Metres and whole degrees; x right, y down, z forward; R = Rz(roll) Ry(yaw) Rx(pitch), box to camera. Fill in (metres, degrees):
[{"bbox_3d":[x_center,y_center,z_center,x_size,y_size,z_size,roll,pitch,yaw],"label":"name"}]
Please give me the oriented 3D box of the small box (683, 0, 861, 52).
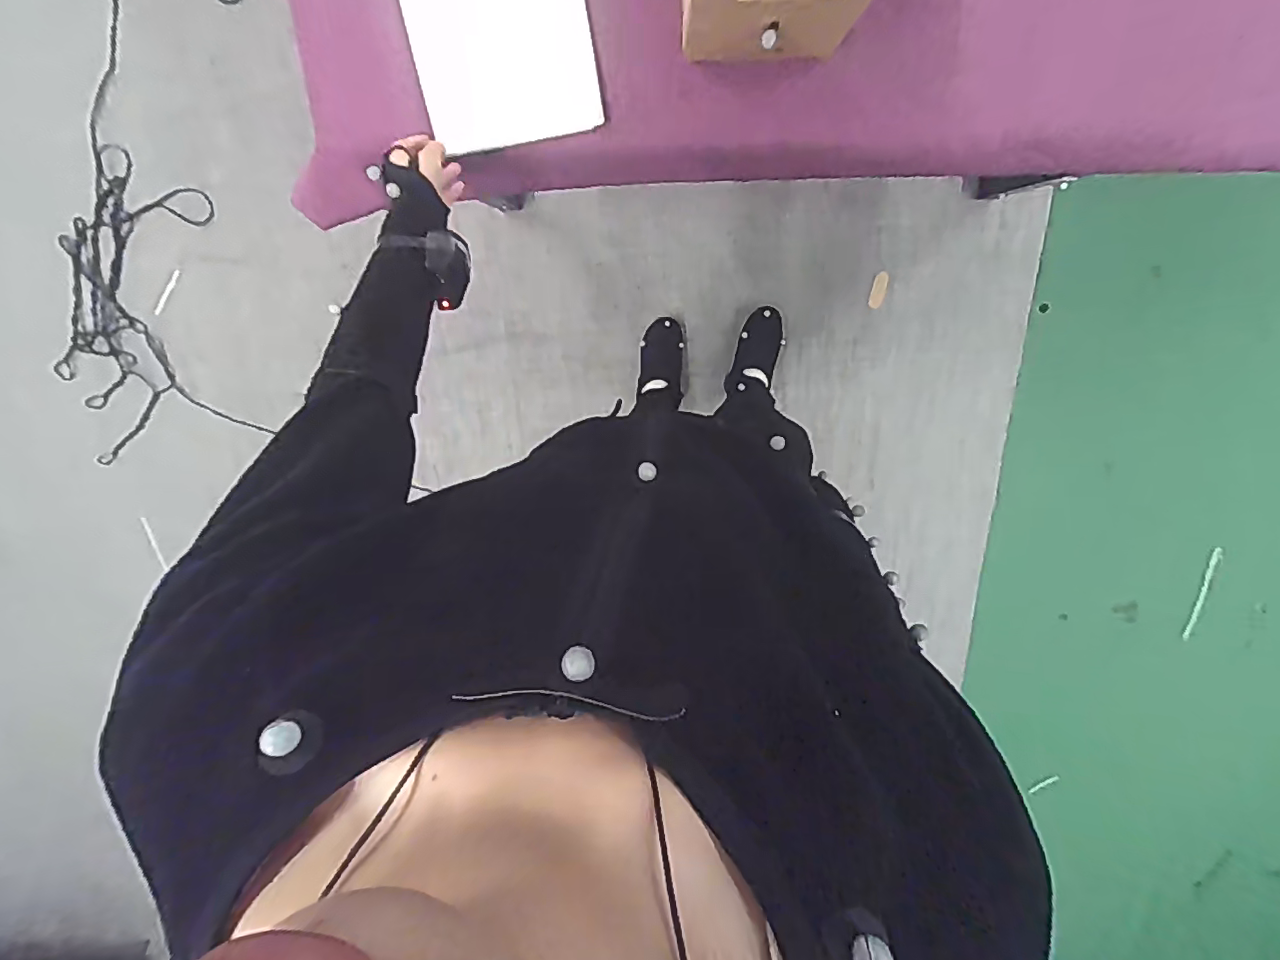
[{"bbox_3d":[0.126,-0.521,0.495,0.168,0.176,0.179,0,111,2],"label":"small box"}]
